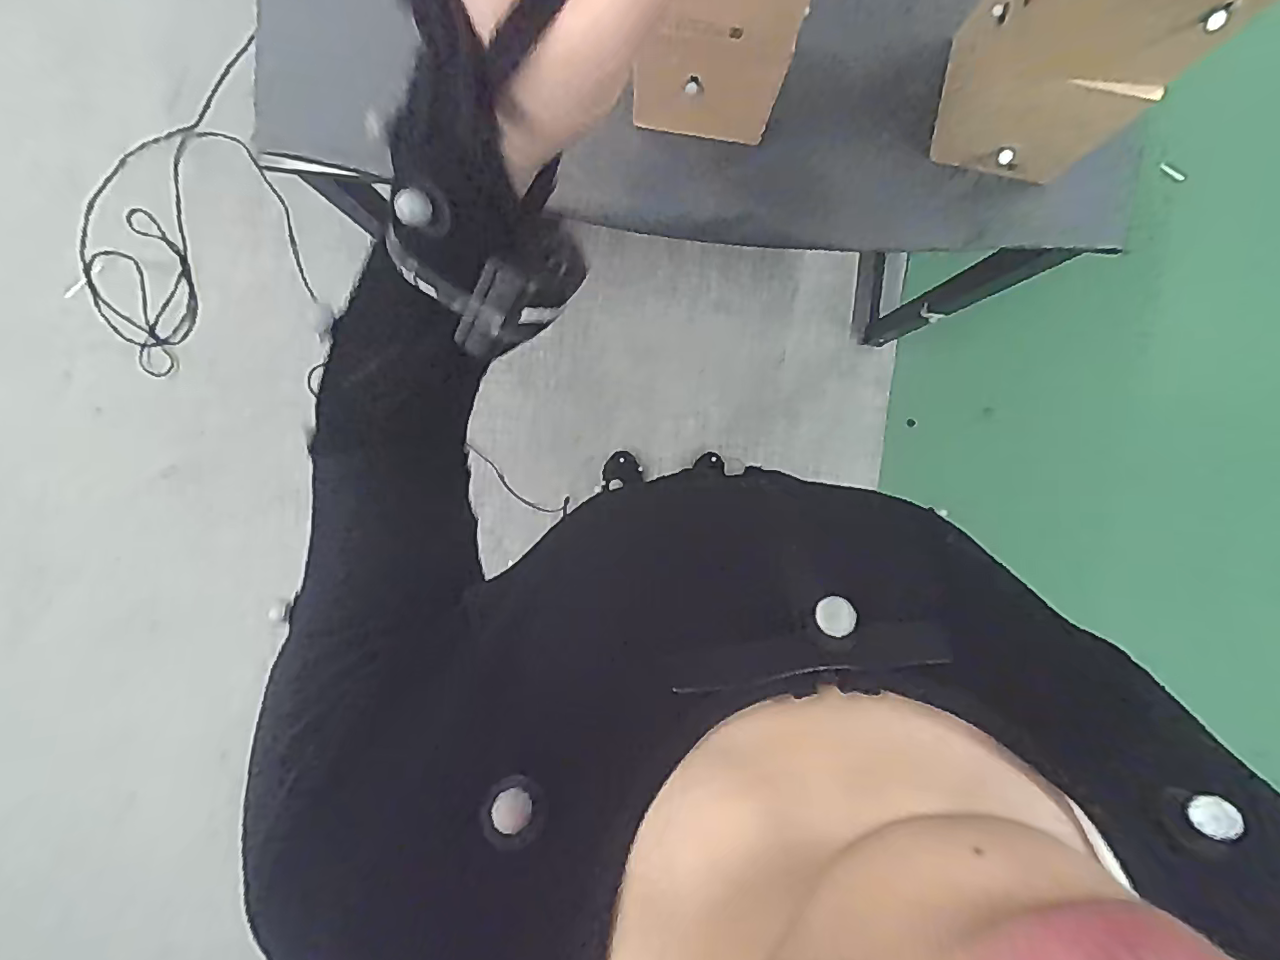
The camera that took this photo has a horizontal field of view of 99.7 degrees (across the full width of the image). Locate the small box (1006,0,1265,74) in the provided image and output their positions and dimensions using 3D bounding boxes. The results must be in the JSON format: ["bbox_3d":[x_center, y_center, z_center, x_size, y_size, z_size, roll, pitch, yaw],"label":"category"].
[{"bbox_3d":[0.475,-0.506,0.485,0.179,0.176,0.168,4,89,1],"label":"small box"}]

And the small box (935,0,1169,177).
[{"bbox_3d":[0.486,-0.506,0.647,0.168,0.176,0.179,12,91,0],"label":"small box"}]

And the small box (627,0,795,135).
[{"bbox_3d":[0.084,-0.550,0.647,0.179,0.176,0.168,8,92,0],"label":"small box"}]
